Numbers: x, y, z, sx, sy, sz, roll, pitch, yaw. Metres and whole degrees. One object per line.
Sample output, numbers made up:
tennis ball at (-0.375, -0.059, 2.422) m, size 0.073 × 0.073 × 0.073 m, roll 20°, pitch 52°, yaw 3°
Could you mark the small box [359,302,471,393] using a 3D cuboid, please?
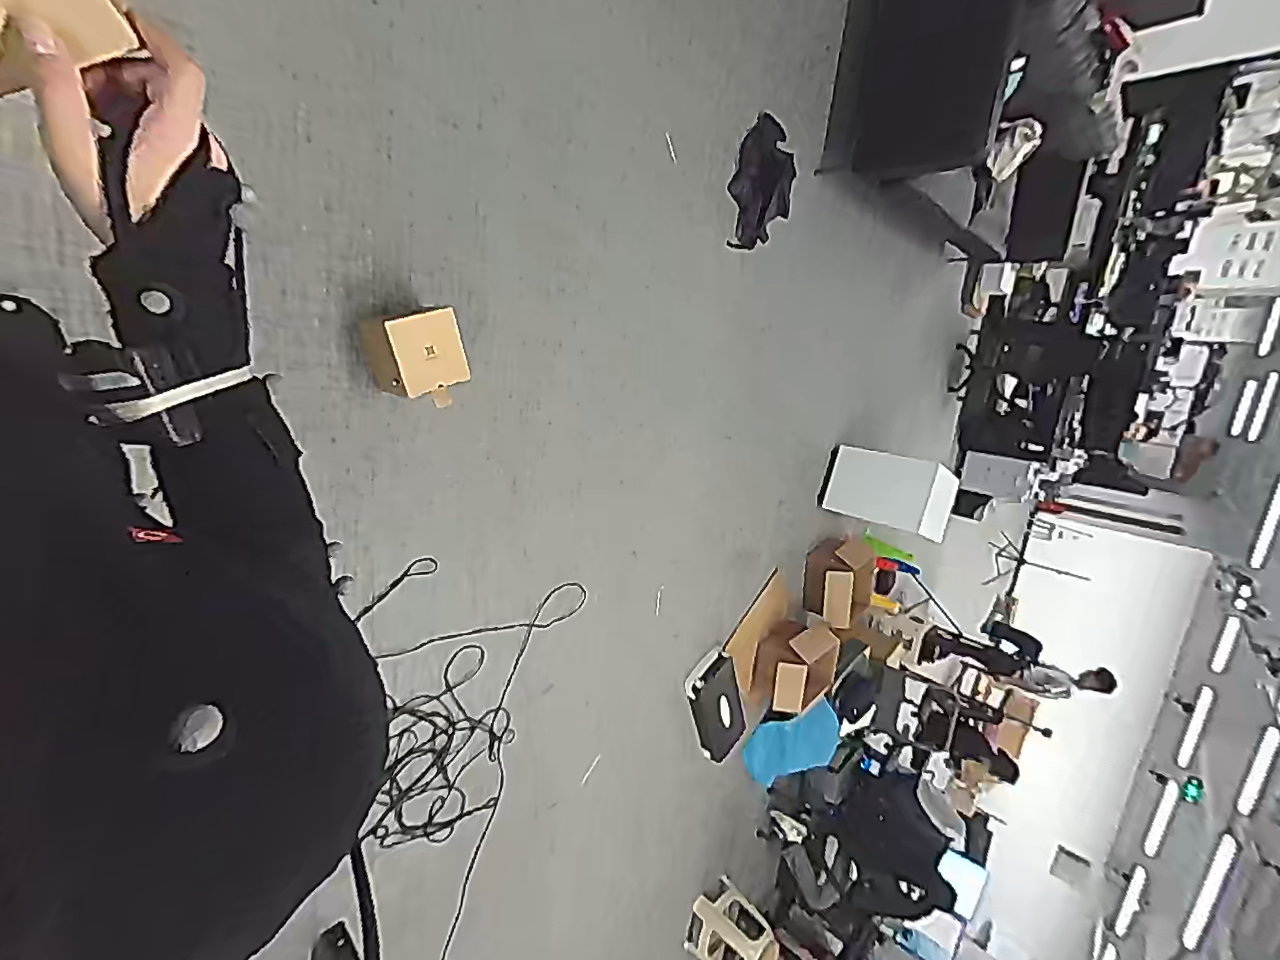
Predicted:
small box at (-0.539, -0.322, 1.293) m, size 0.168 × 0.176 × 0.179 m, roll -31°, pitch 125°, yaw -37°
